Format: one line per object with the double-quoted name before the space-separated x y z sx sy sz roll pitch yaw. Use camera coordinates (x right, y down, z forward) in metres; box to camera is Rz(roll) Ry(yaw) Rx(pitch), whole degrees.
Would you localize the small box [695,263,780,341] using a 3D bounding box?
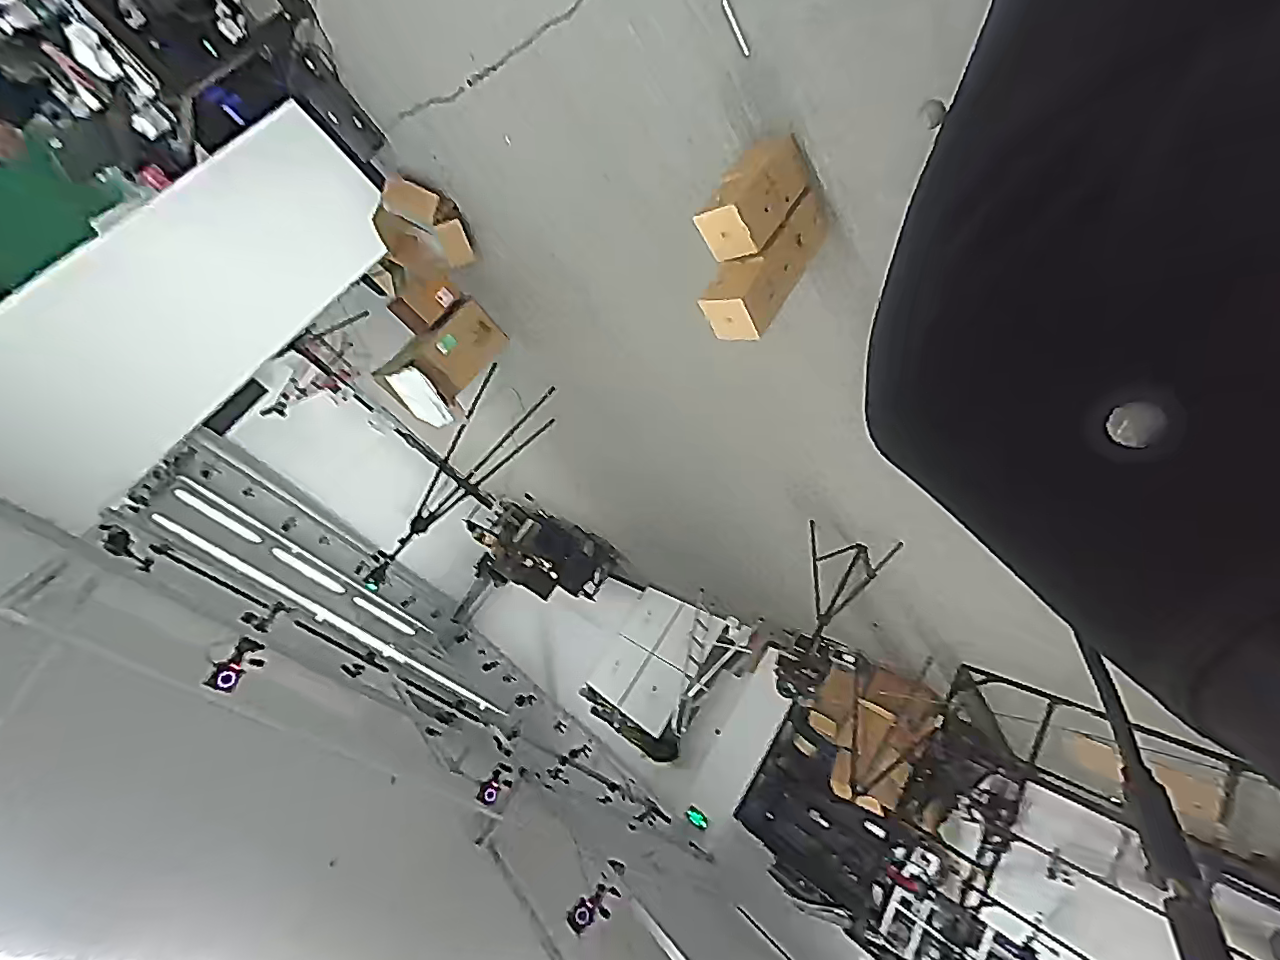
"small box" 0.311 -0.561 1.709 0.179 0.176 0.168 17 156 45
